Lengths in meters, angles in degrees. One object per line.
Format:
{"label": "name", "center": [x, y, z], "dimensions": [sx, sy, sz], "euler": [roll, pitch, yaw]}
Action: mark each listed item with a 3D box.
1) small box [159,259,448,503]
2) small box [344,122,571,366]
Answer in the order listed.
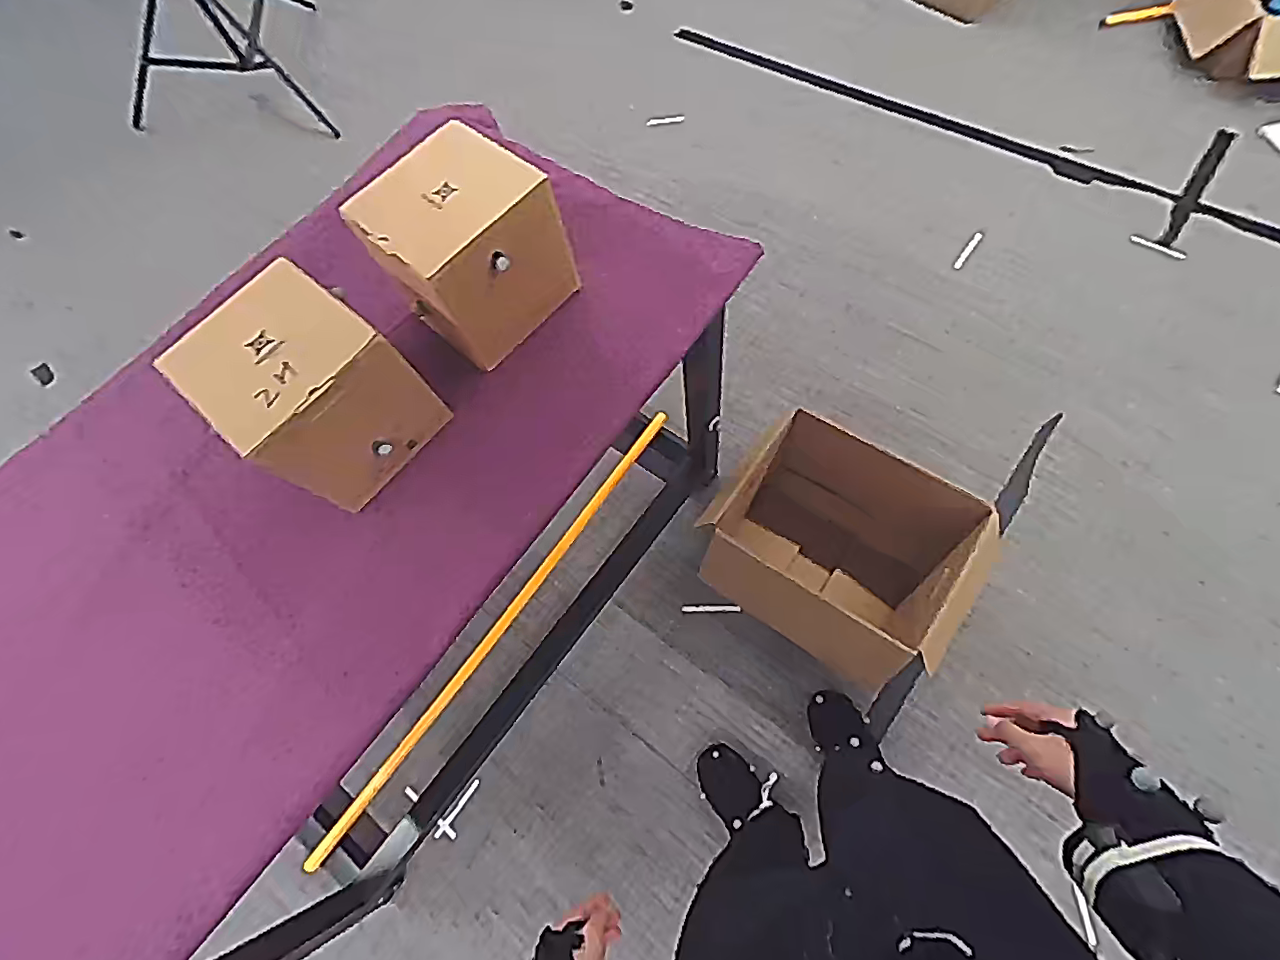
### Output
{"label": "small box", "center": [-0.356, -0.100, 0.603], "dimensions": [0.179, 0.176, 0.168], "euler": [37, 77, 18]}
{"label": "small box", "center": [-0.202, -0.278, 0.658], "dimensions": [0.168, 0.176, 0.179], "euler": [39, 78, 20]}
